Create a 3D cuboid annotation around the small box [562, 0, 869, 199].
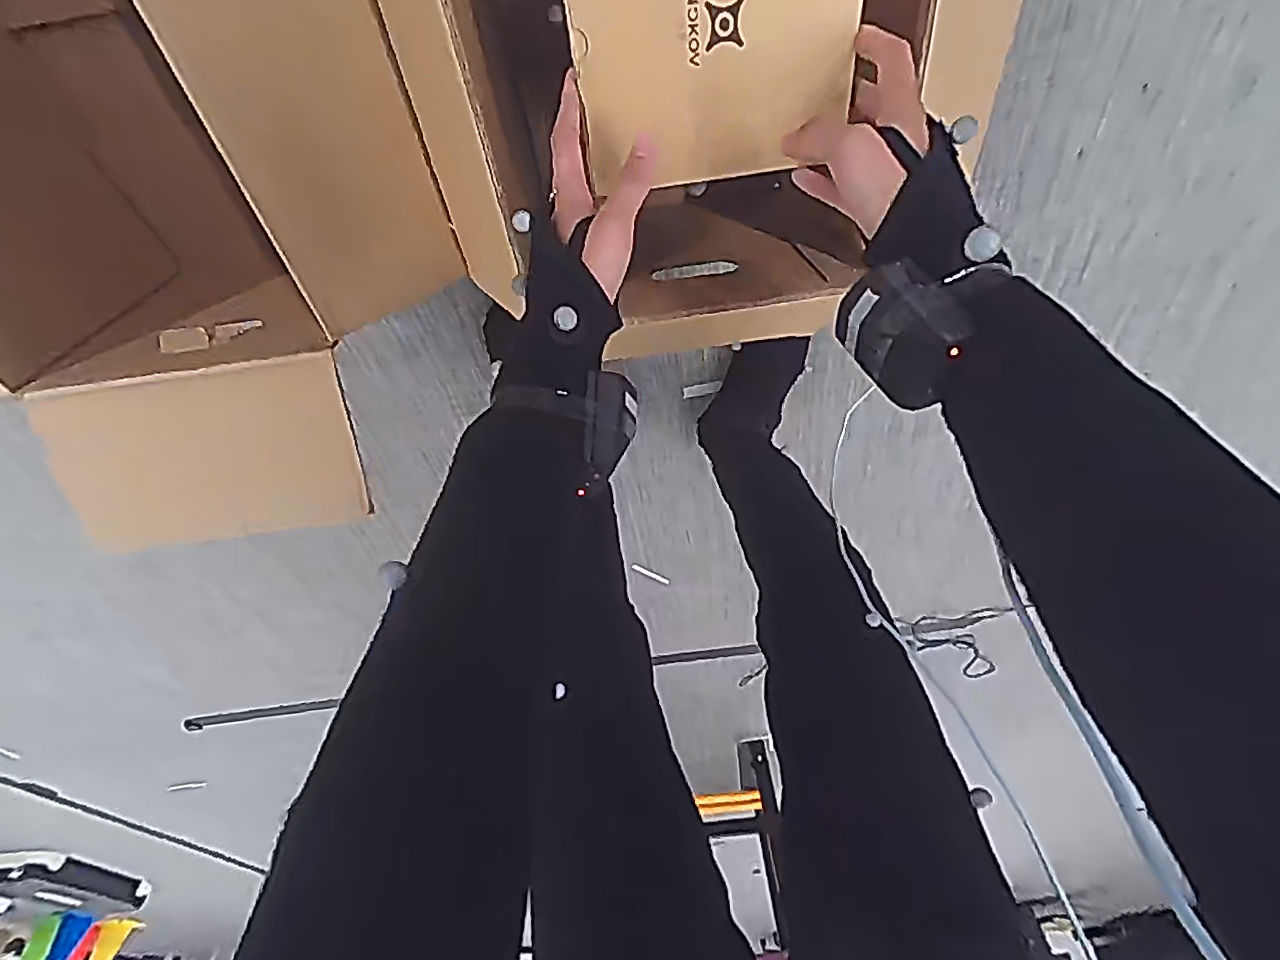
[{"bbox_3d":[0.038,-0.314,0.368,0.179,0.176,0.168,-8,133,1],"label":"small box"}]
